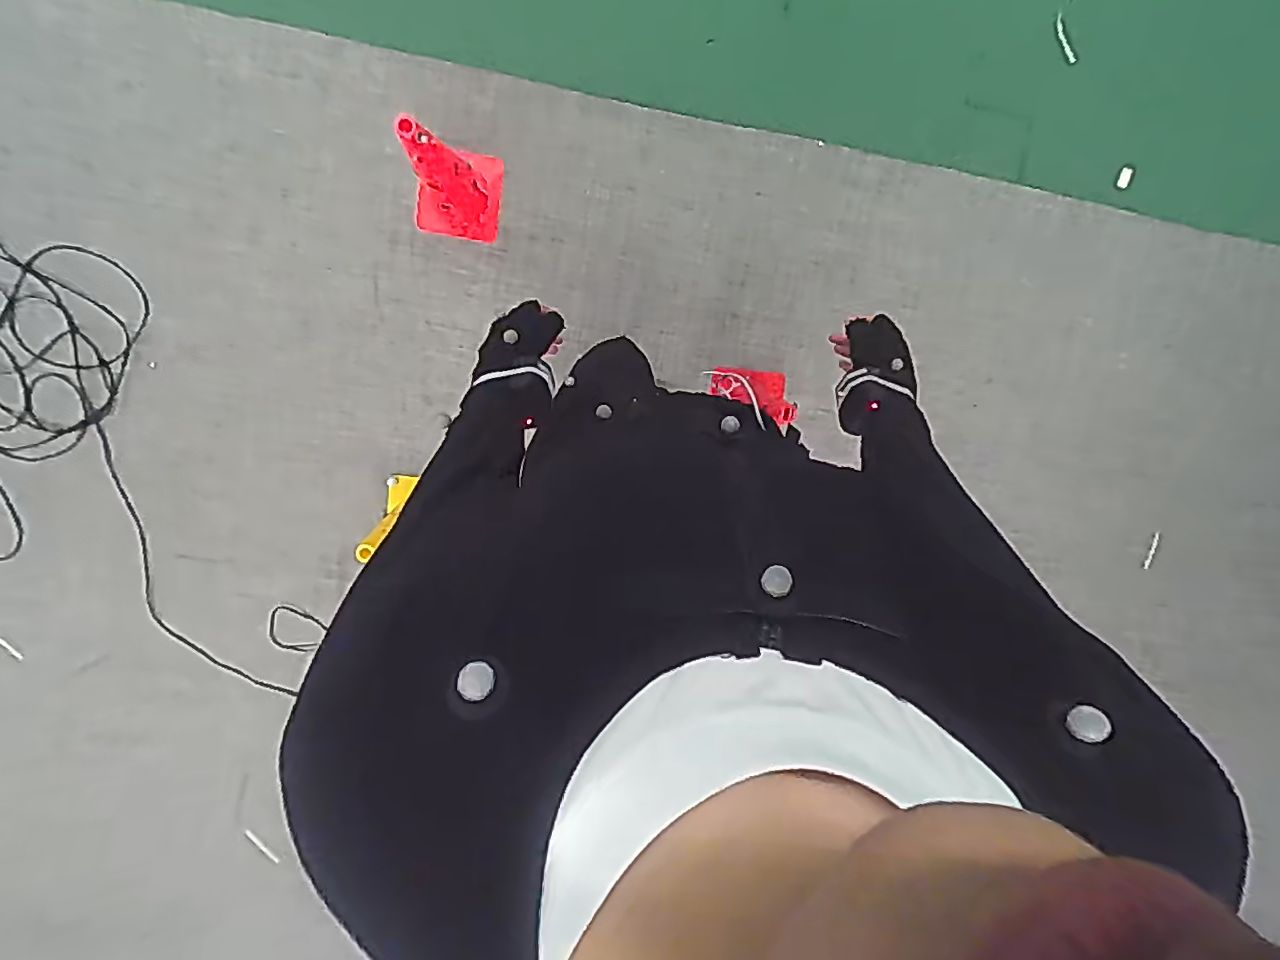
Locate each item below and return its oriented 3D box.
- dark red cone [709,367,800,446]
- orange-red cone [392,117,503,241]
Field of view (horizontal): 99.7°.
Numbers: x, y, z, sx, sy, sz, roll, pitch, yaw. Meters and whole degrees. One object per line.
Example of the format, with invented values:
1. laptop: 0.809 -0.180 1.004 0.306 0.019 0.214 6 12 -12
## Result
1. dark red cone: 0.292 -0.168 1.257 0.202 0.394 0.201 4 98 -3
2. orange-red cone: -0.439 -0.673 1.161 0.198 0.360 0.199 10 100 -3
